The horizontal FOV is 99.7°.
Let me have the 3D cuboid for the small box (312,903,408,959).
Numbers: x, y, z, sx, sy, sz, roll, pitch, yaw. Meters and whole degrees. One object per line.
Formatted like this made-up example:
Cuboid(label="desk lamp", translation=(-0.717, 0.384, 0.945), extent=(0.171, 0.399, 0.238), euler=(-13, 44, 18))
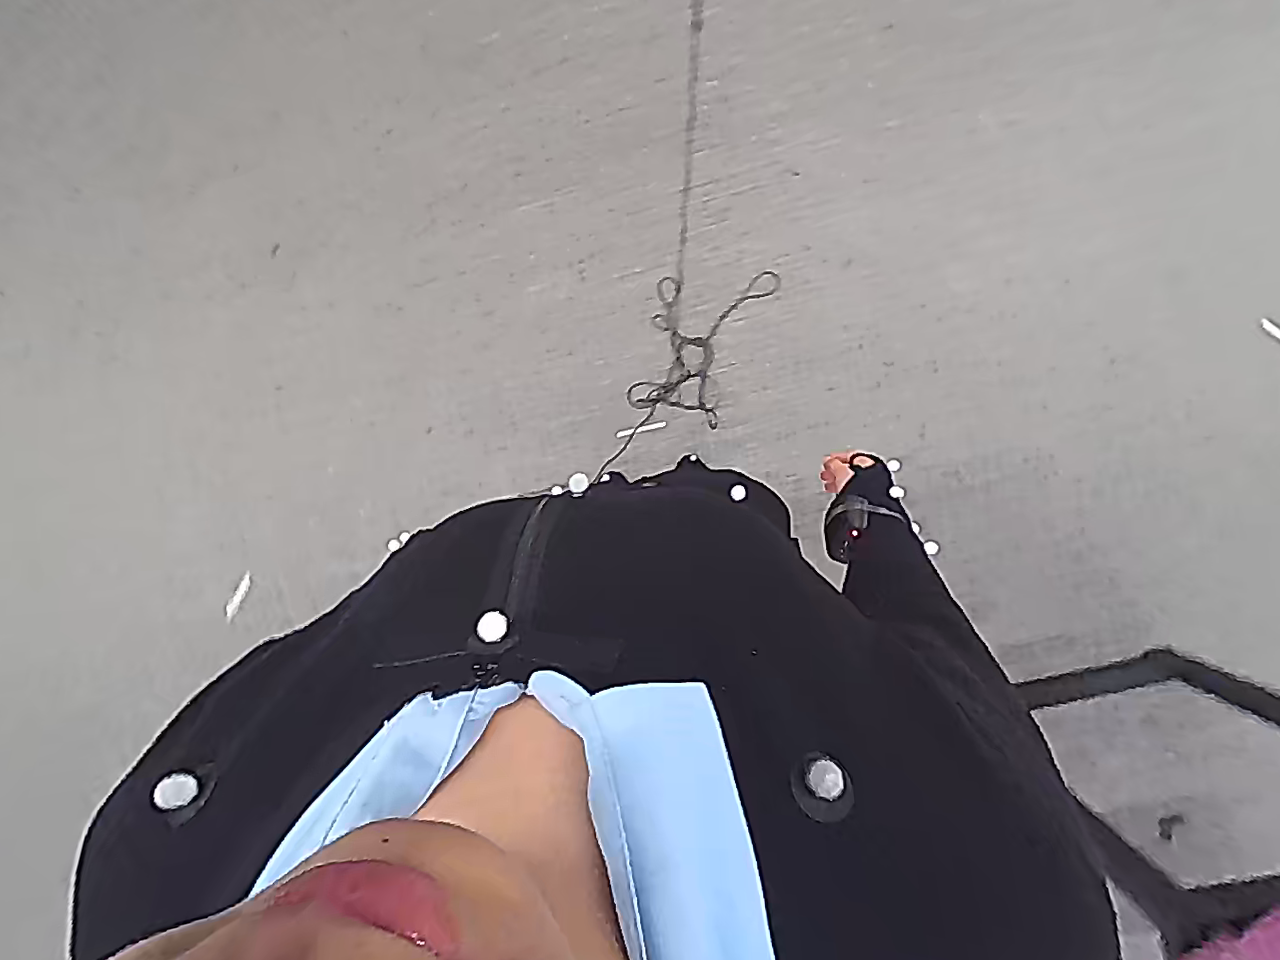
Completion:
Cuboid(label="small box", translation=(-0.775, 1.331, 1.505), extent=(0.179, 0.176, 0.168), euler=(-19, 90, 6))
